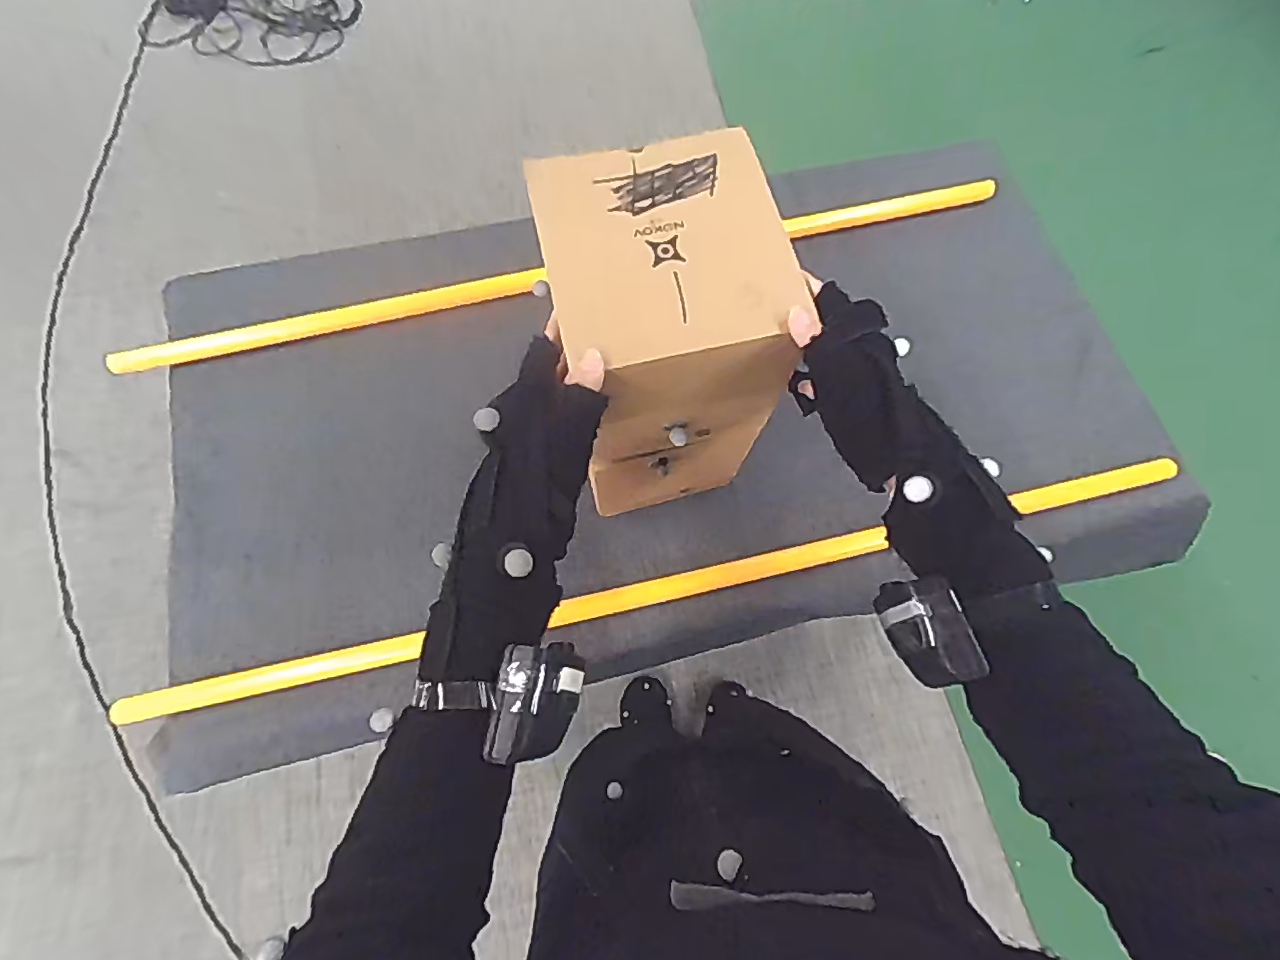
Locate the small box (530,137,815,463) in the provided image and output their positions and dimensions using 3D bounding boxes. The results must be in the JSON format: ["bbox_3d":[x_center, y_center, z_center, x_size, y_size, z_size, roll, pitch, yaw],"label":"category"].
[{"bbox_3d":[0.016,-0.135,0.446,0.168,0.176,0.179,-13,73,-4],"label":"small box"}]

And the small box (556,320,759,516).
[{"bbox_3d":[0.012,-0.079,0.603,0.168,0.176,0.179,-15,72,-6],"label":"small box"}]
